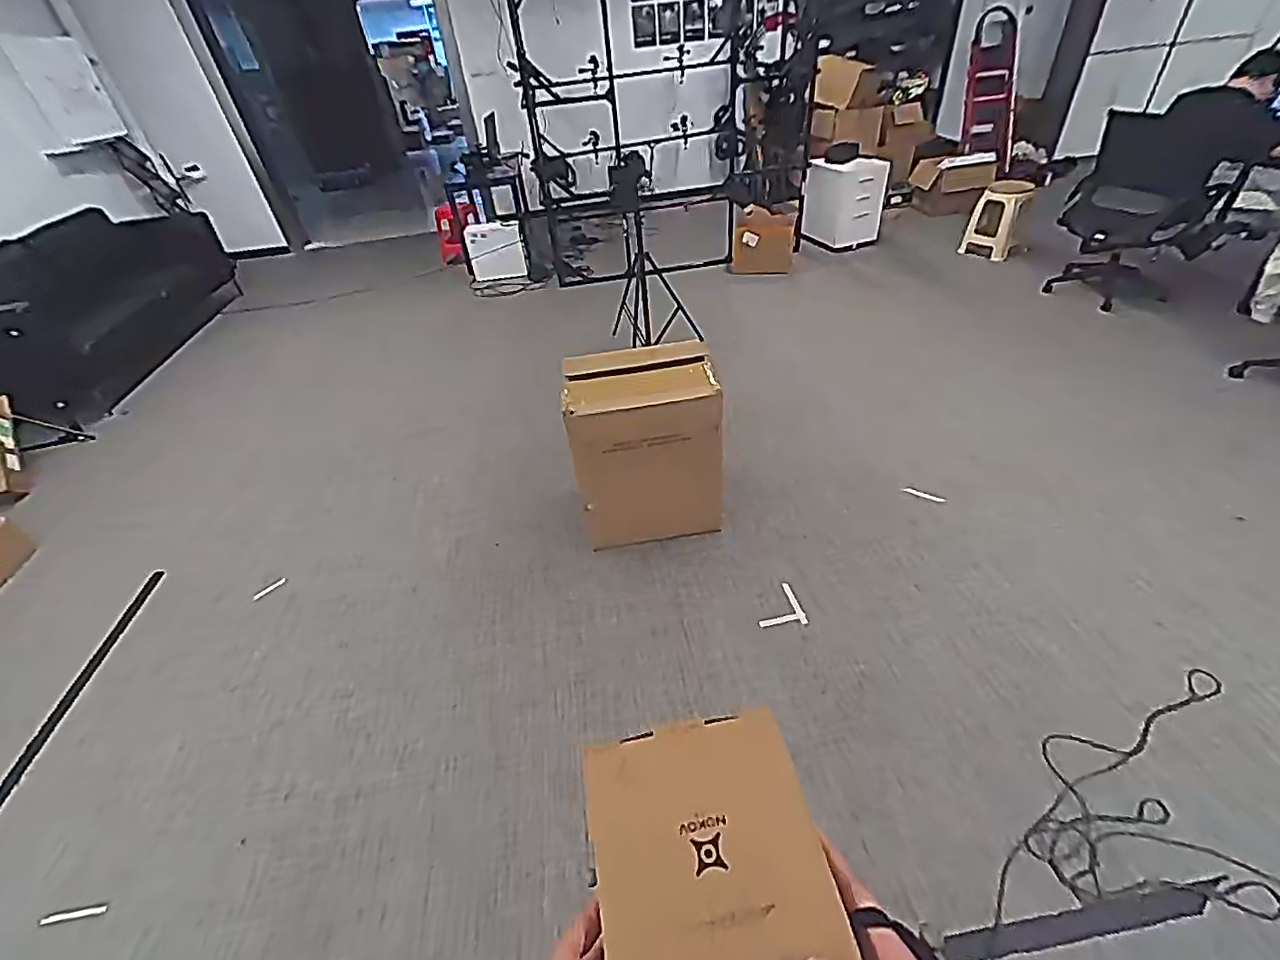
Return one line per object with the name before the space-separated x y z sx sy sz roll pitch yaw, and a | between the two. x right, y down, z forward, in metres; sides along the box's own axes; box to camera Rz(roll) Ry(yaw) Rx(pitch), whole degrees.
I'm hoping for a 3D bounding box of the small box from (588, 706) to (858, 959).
small box | 0.053 0.324 0.458 0.168 0.176 0.179 -10 46 -4
